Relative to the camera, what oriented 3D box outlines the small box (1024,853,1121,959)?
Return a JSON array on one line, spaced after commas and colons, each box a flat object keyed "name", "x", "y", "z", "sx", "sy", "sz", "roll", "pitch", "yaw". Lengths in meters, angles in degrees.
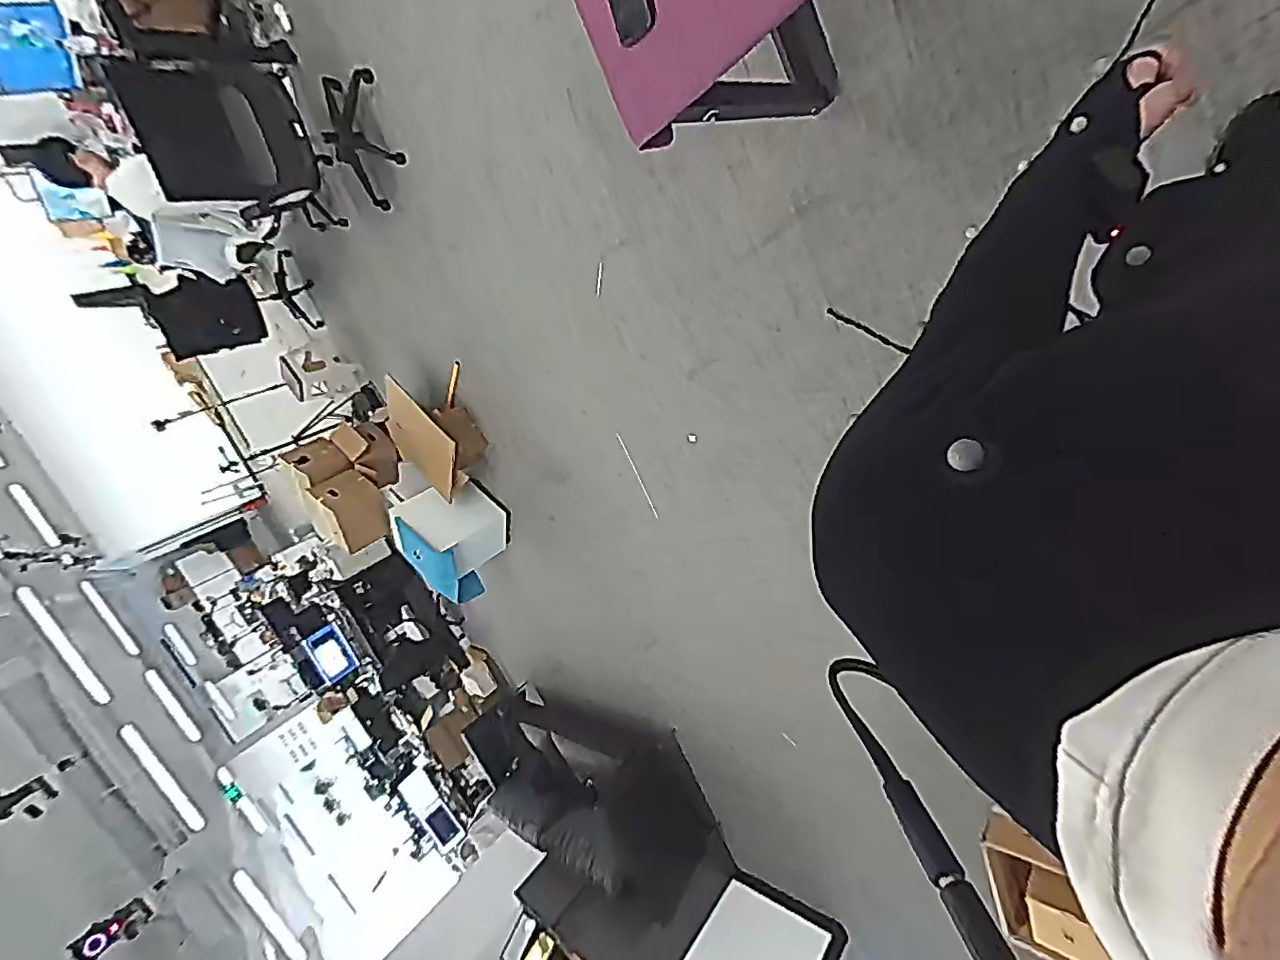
[{"name": "small box", "x": 1.115, "y": 1.125, "z": 1.391, "sx": 0.168, "sy": 0.176, "sz": 0.179, "roll": -2, "pitch": 113, "yaw": 48}]
